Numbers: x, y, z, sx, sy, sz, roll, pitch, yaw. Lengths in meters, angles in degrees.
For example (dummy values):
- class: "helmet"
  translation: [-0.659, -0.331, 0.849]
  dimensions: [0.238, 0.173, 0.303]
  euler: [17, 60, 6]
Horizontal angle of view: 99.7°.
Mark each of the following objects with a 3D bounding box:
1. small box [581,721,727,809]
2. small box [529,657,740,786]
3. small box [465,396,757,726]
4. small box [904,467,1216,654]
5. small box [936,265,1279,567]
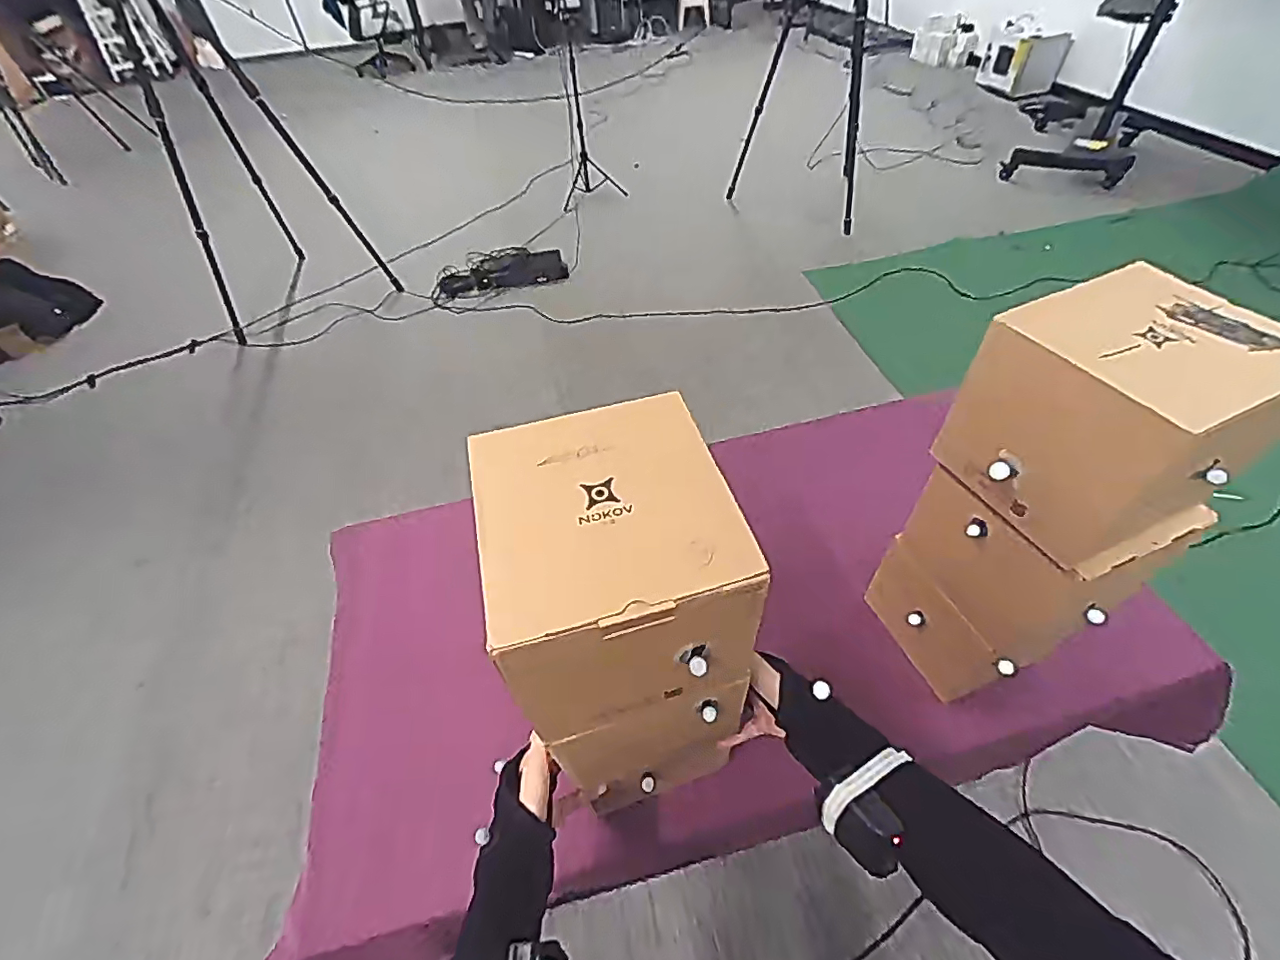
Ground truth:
- class: "small box"
  translation: [-0.005, 0.276, 0.662]
  dimensions: [0.179, 0.176, 0.168]
  euler: [-16, 50, -8]
- class: "small box"
  translation: [-0.016, 0.176, 0.535]
  dimensions: [0.179, 0.176, 0.168]
  euler: [-15, 50, -9]
- class: "small box"
  translation: [-0.025, 0.067, 0.413]
  dimensions: [0.168, 0.176, 0.179]
  euler: [-13, 49, -8]
- class: "small box"
  translation: [0.428, 0.058, 0.593]
  dimensions: [0.168, 0.176, 0.179]
  euler: [-19, 50, -10]
- class: "small box"
  translation: [0.405, -0.055, 0.475]
  dimensions: [0.179, 0.176, 0.168]
  euler: [-21, 50, -11]
